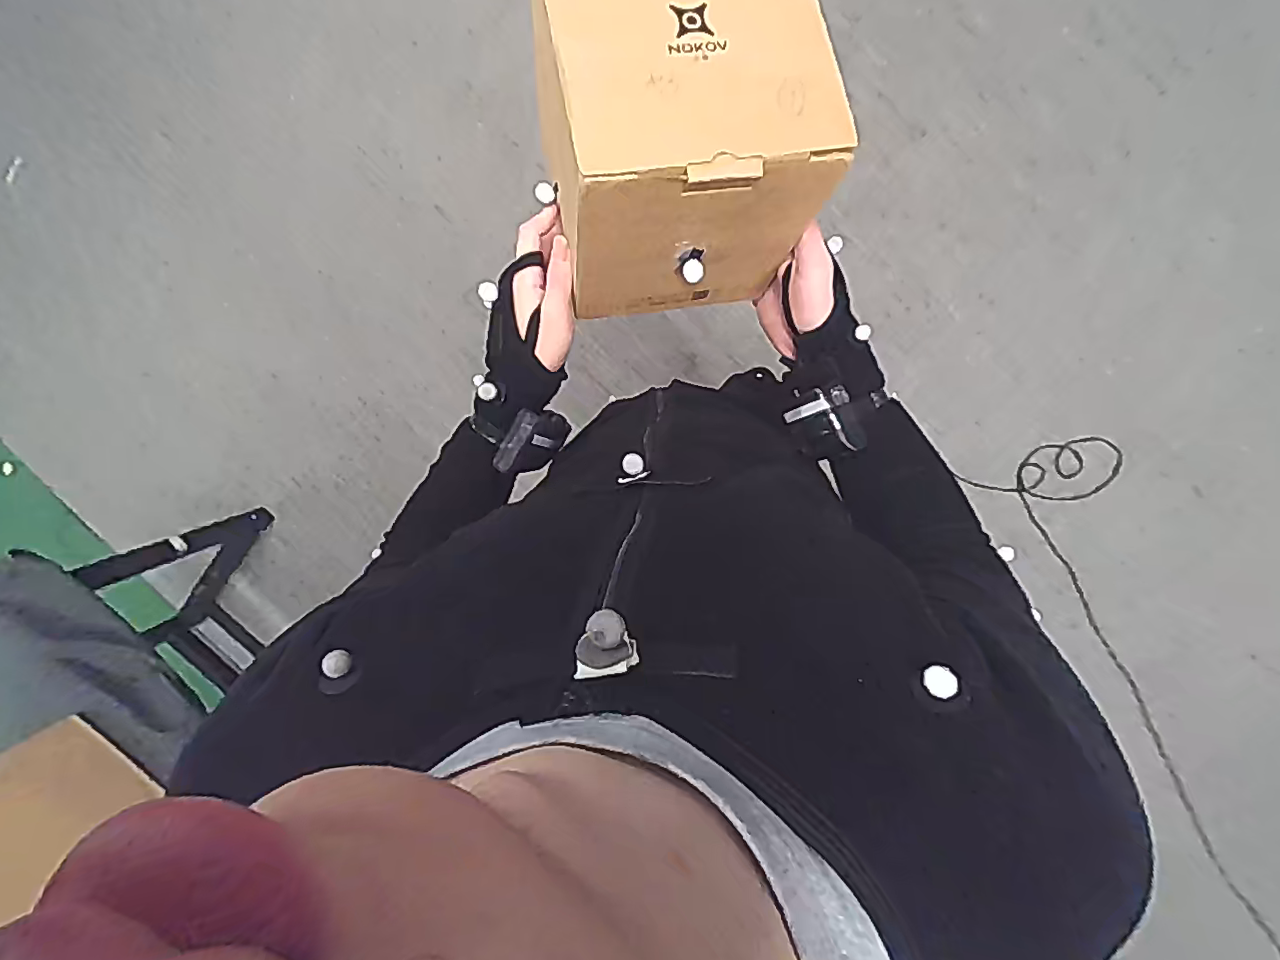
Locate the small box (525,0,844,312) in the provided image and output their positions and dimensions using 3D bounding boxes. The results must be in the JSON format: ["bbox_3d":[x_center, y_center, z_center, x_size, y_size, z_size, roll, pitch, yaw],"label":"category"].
[{"bbox_3d":[0.015,-0.236,0.389,0.168,0.176,0.179,-9,82,-9],"label":"small box"}]
